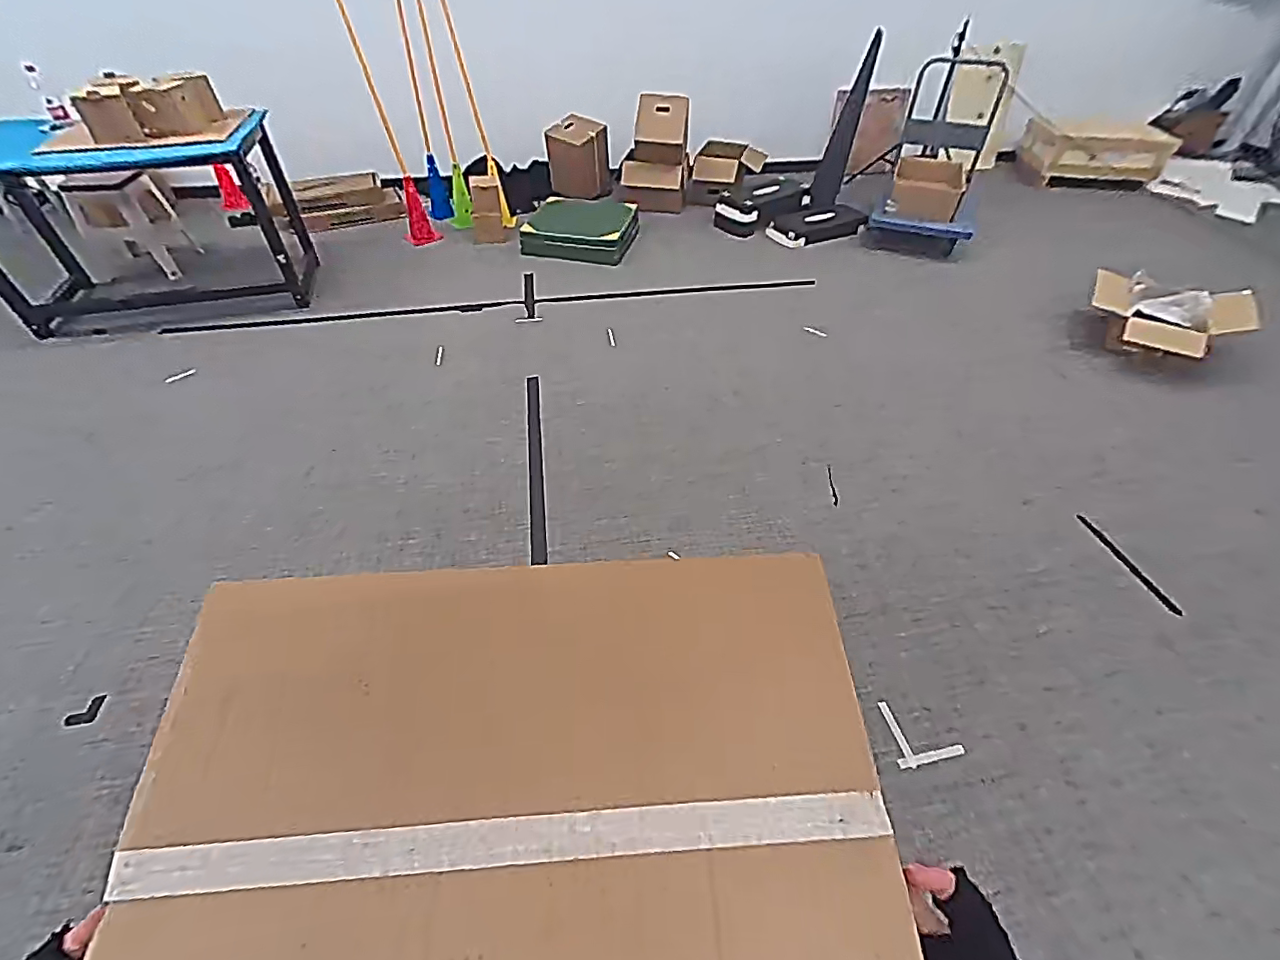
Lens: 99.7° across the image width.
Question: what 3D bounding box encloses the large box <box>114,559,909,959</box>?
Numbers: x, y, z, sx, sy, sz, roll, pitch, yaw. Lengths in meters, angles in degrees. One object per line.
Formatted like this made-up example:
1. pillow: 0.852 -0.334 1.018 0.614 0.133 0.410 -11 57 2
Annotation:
1. large box: -0.069 0.273 0.426 0.408 0.320 0.320 -2 60 -3
